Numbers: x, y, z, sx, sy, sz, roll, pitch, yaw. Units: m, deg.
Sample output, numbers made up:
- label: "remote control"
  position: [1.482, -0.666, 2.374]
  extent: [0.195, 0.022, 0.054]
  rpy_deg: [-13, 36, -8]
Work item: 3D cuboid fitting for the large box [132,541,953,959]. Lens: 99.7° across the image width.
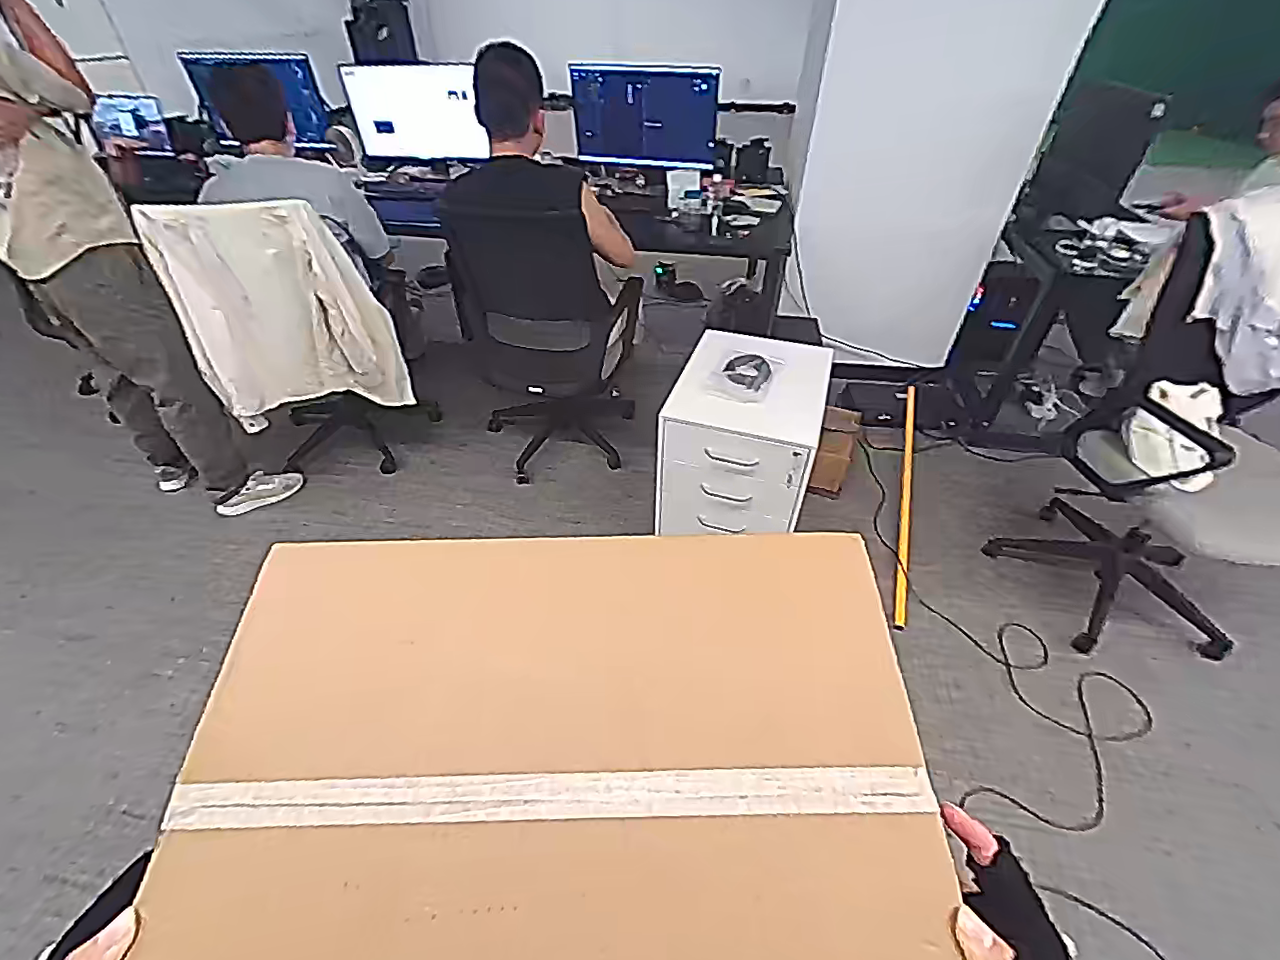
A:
- label: "large box"
  position: [-0.049, 0.260, 0.421]
  extent: [0.408, 0.320, 0.320]
  rpy_deg: [-2, 57, 0]
